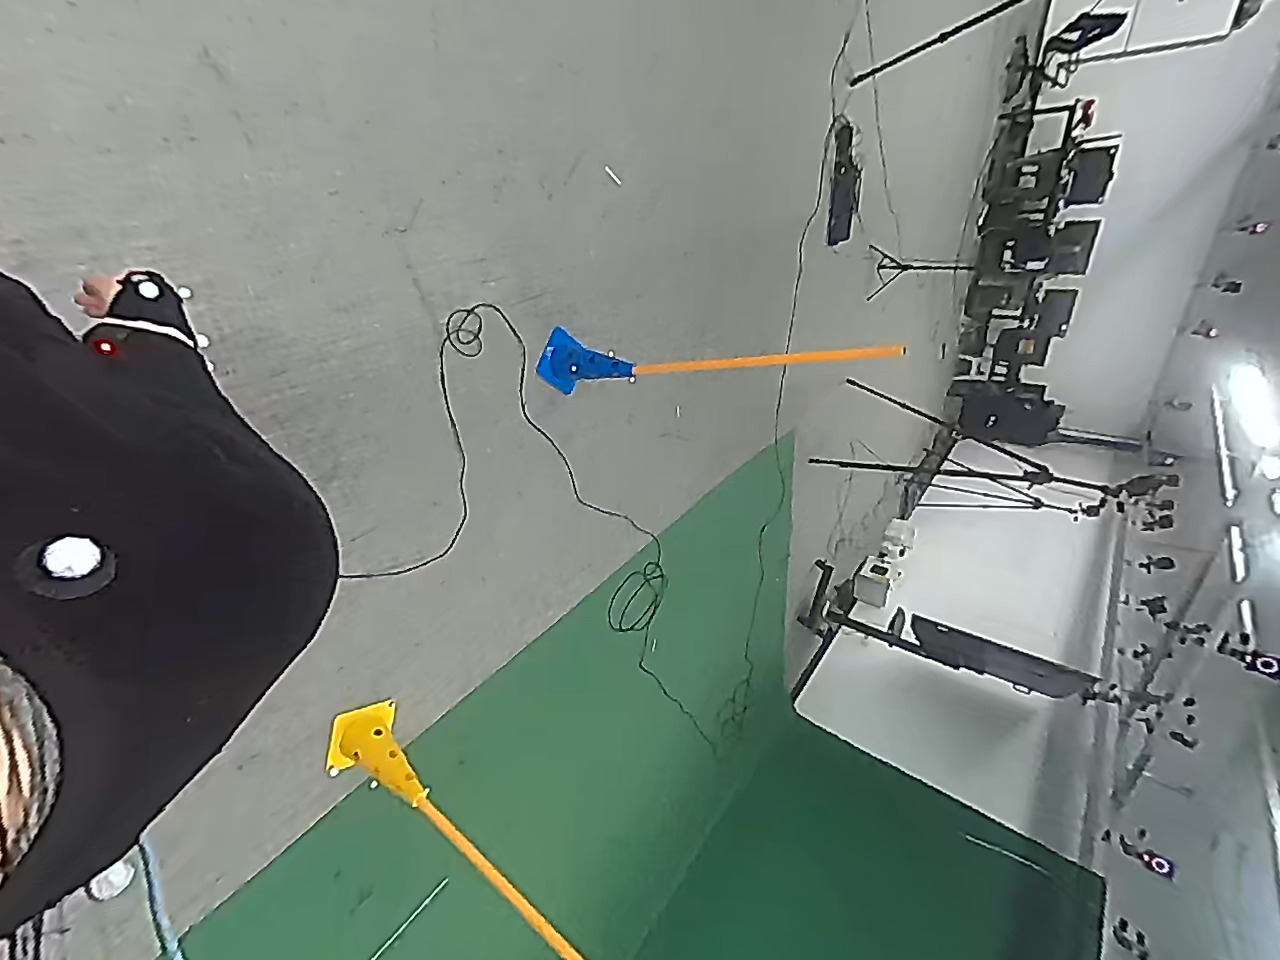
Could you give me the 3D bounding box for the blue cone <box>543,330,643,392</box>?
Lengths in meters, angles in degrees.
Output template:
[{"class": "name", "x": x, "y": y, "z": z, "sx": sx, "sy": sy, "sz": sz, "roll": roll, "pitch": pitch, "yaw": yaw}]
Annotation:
[{"class": "blue cone", "x": -0.151, "y": -0.410, "z": 1.924, "sx": 0.192, "sy": 0.380, "sz": 0.193, "roll": 29, "pitch": 79, "yaw": -53}]
